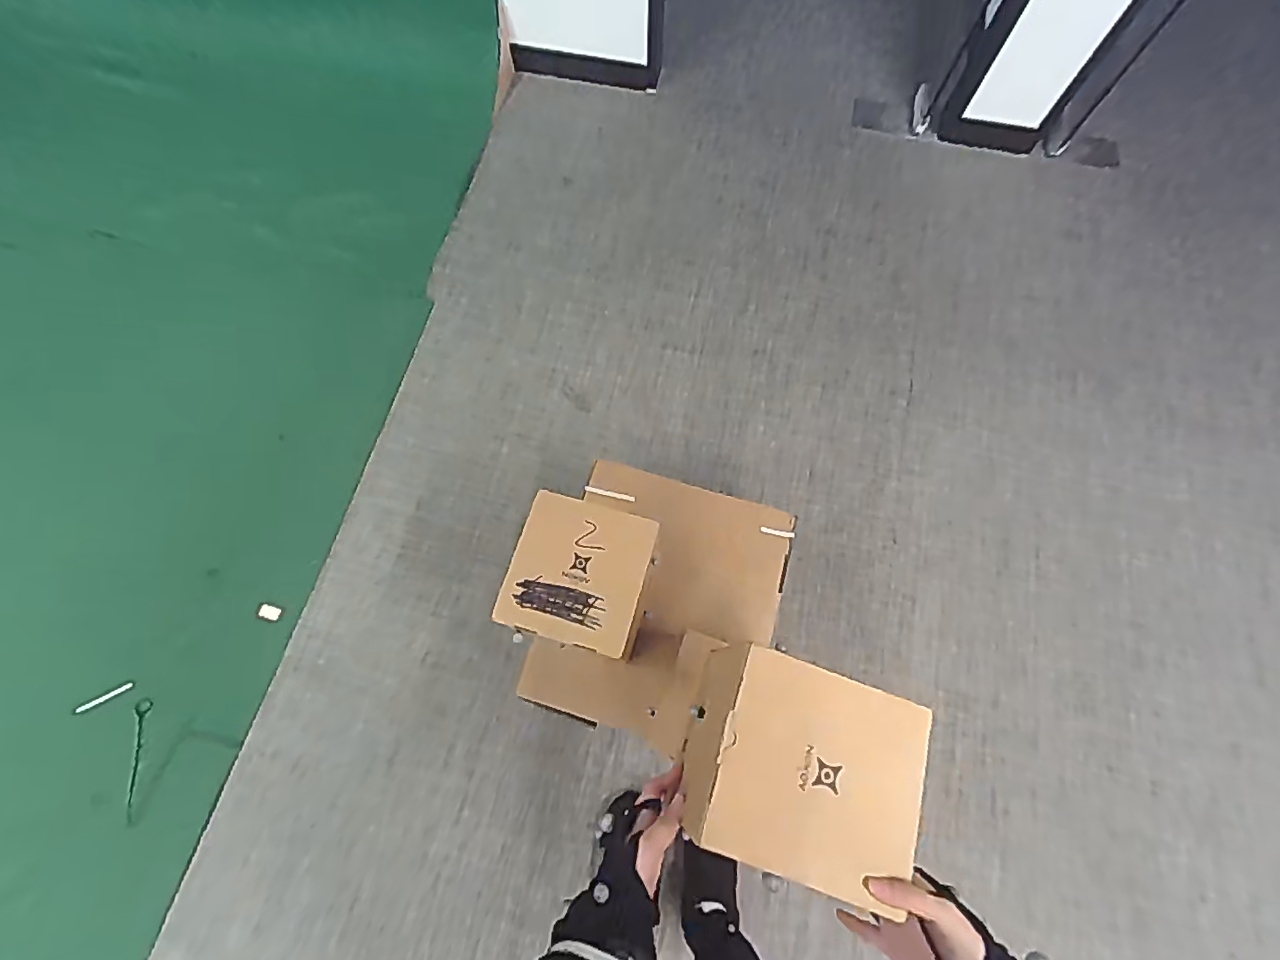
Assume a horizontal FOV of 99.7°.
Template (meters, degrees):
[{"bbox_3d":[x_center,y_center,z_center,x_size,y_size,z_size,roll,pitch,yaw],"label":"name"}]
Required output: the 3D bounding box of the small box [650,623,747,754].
[{"bbox_3d":[0.119,0.340,0.840,0.168,0.176,0.179,20,71,5],"label":"small box"}]

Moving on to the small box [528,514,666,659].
[{"bbox_3d":[-0.065,0.183,0.895,0.168,0.176,0.179,18,71,7],"label":"small box"}]

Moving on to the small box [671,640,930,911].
[{"bbox_3d":[0.144,0.269,0.531,0.179,0.176,0.168,20,69,2],"label":"small box"}]
